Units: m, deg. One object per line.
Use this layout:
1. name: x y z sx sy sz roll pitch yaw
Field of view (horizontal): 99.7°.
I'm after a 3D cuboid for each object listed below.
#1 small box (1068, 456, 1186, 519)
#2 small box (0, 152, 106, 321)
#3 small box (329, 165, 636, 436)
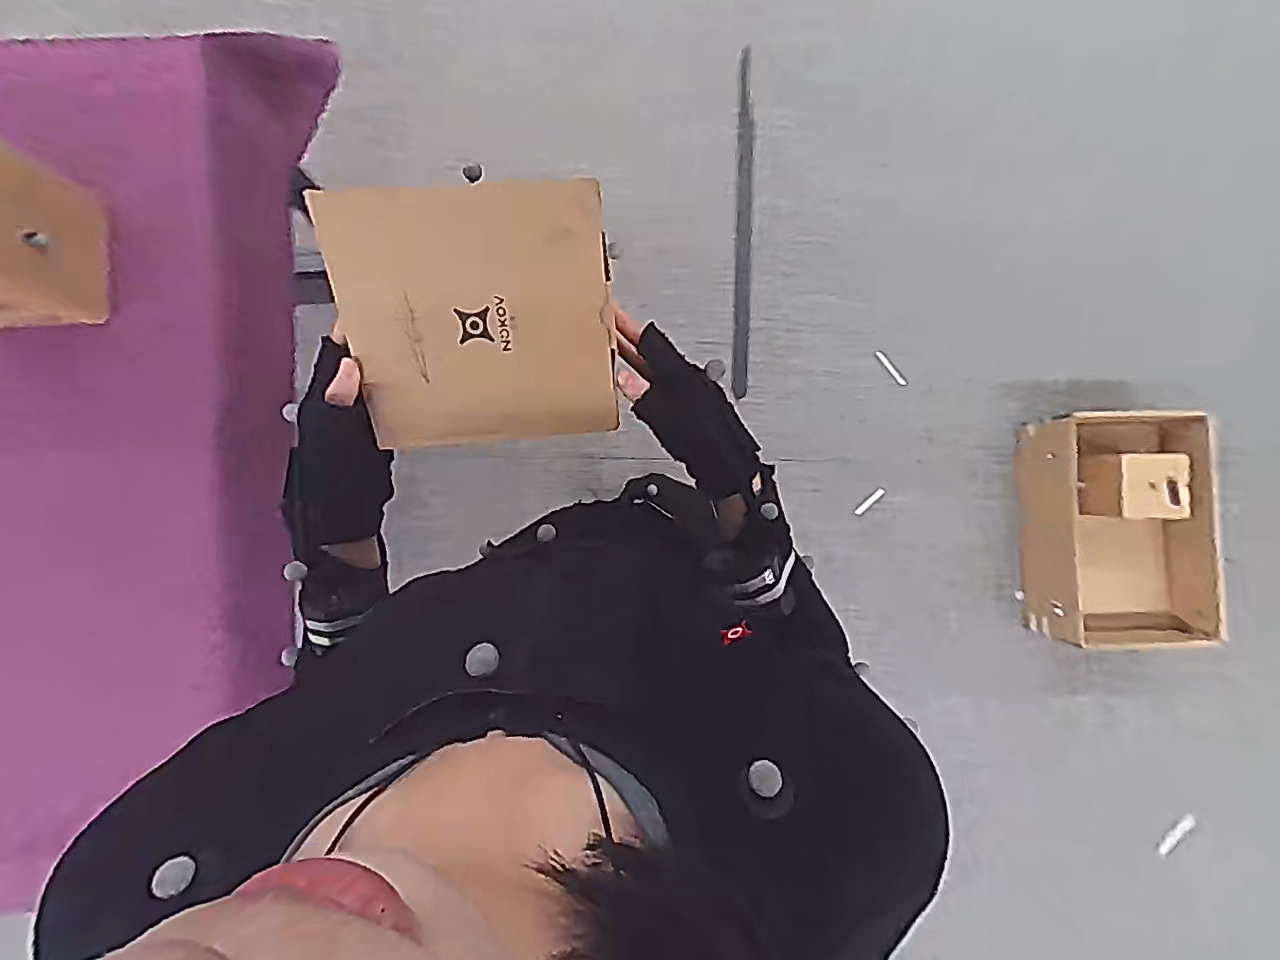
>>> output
1. small box: 1.313 0.021 1.466 0.179 0.176 0.168 -1 88 -2
2. small box: -0.833 -0.307 0.683 0.168 0.176 0.179 -4 88 -3
3. small box: -0.100 -0.144 0.425 0.179 0.176 0.168 -5 114 -3
